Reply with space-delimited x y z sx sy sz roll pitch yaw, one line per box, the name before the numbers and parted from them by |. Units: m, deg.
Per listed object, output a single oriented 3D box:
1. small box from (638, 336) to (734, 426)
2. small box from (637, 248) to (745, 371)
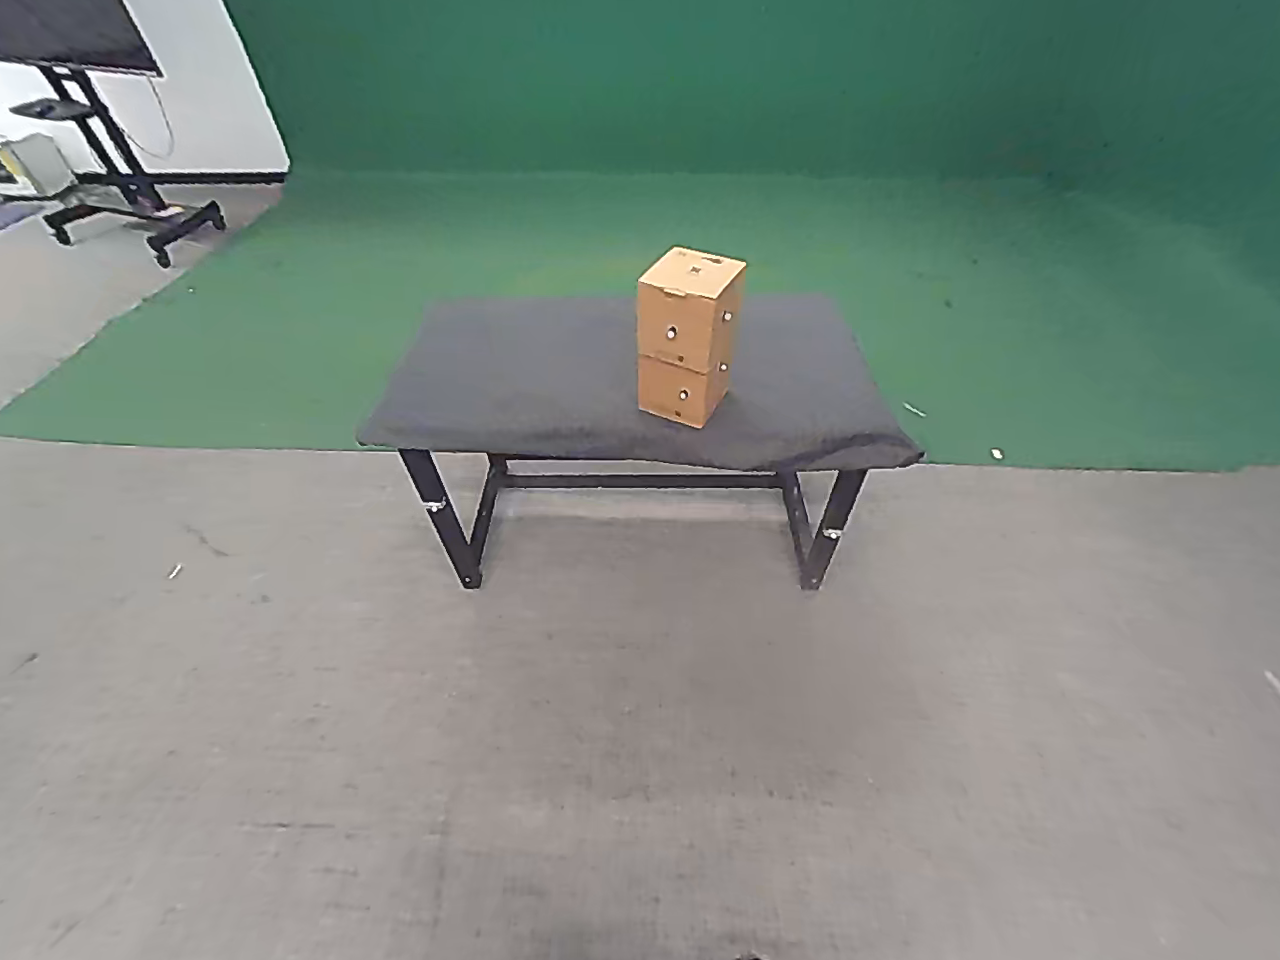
small box | 0.107 -0.253 1.263 0.168 0.176 0.179 21 50 18
small box | 0.106 -0.356 1.135 0.168 0.176 0.179 21 52 18
